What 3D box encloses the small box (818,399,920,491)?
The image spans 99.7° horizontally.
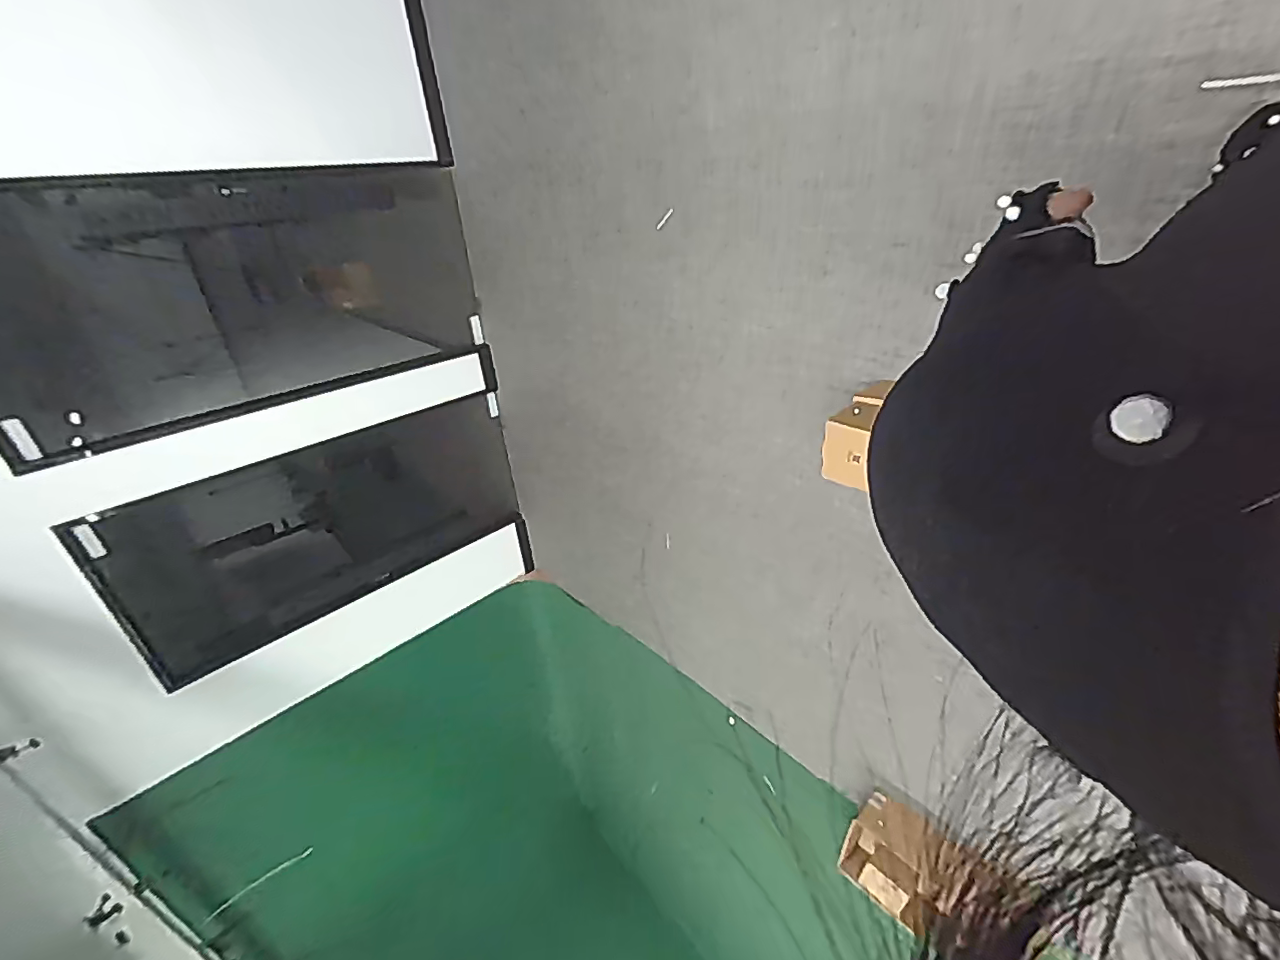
[{"bbox_3d":[0.586,-0.098,1.389,0.179,0.176,0.168,23,129,41],"label":"small box"}]

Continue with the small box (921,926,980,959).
[{"bbox_3d":[1.051,1.677,1.832,0.168,0.176,0.179,27,131,41],"label":"small box"}]

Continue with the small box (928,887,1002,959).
[{"bbox_3d":[1.166,1.625,1.937,0.168,0.176,0.179,25,129,41],"label":"small box"}]

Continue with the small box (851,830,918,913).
[{"bbox_3d":[0.967,1.541,2.135,0.168,0.176,0.179,30,132,36],"label":"small box"}]
